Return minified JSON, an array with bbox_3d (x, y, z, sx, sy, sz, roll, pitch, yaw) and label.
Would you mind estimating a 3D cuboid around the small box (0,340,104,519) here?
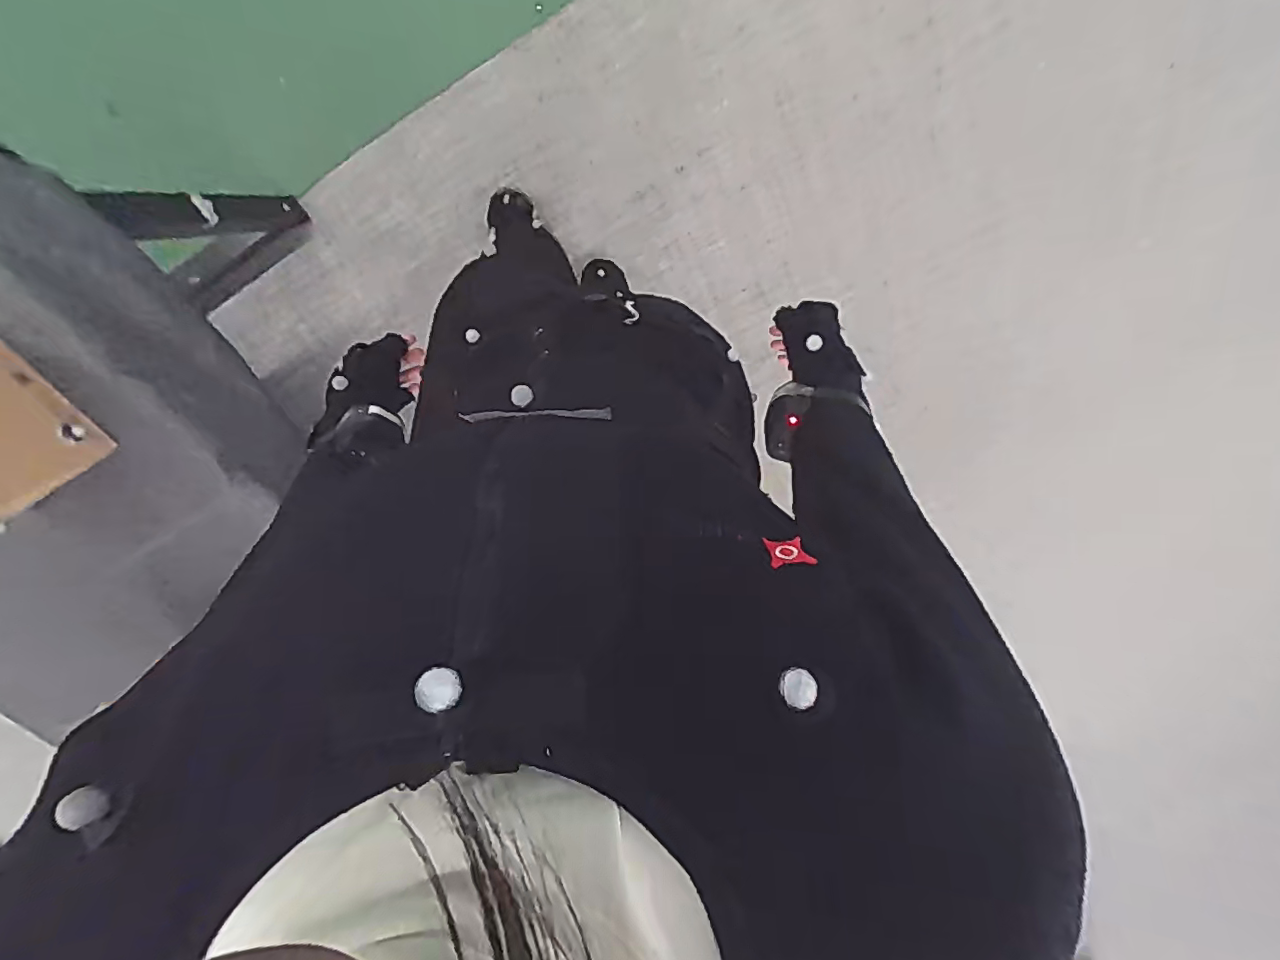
[{"bbox_3d":[-0.735,-0.031,0.563,0.179,0.176,0.168,-26,116,13],"label":"small box"}]
